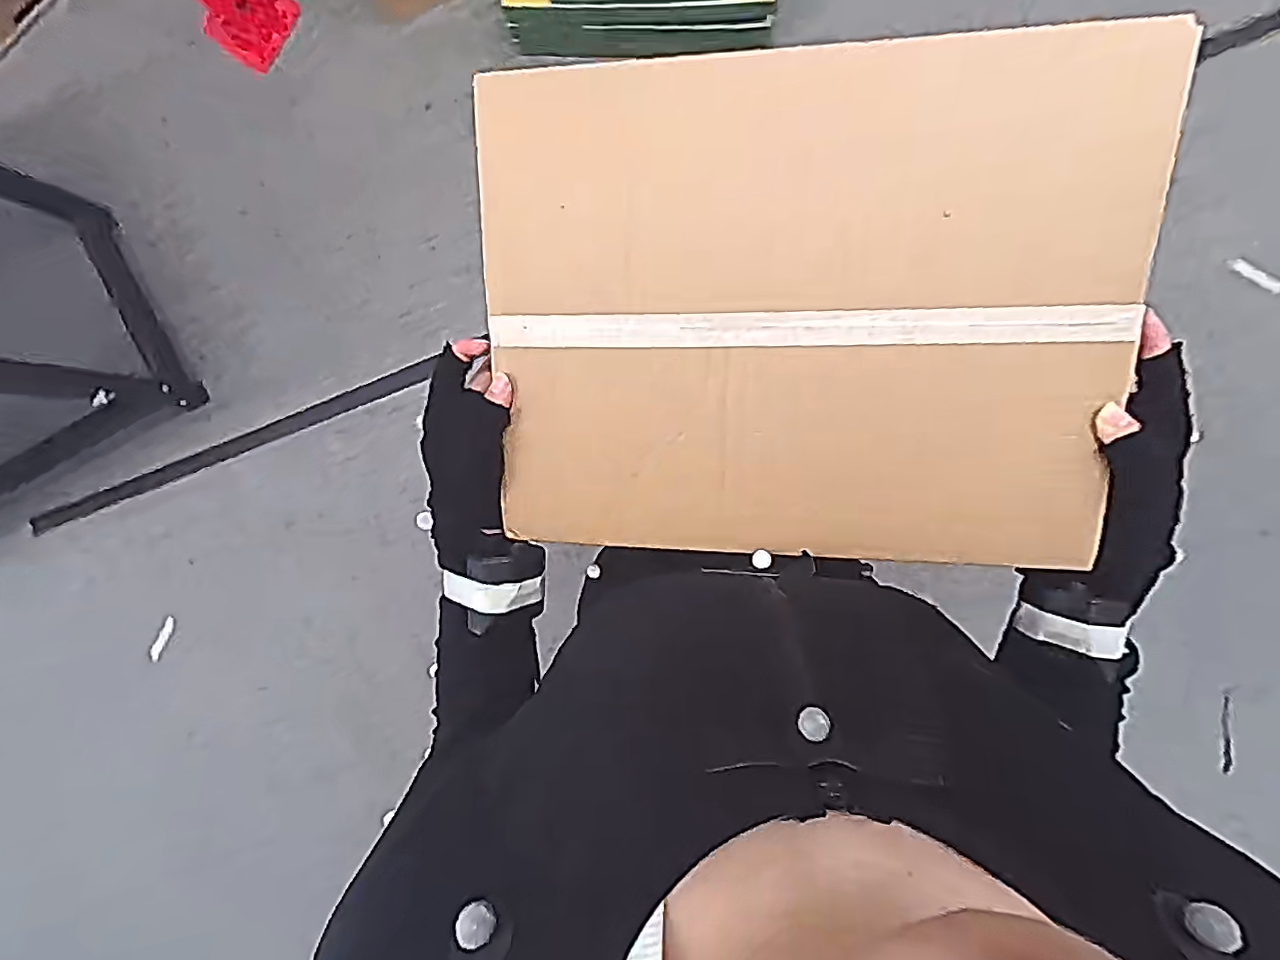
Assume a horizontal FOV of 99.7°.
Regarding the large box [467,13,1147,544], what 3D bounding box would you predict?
[{"bbox_3d":[0.109,-0.143,0.500,0.408,0.320,0.320,1,103,9],"label":"large box"}]
